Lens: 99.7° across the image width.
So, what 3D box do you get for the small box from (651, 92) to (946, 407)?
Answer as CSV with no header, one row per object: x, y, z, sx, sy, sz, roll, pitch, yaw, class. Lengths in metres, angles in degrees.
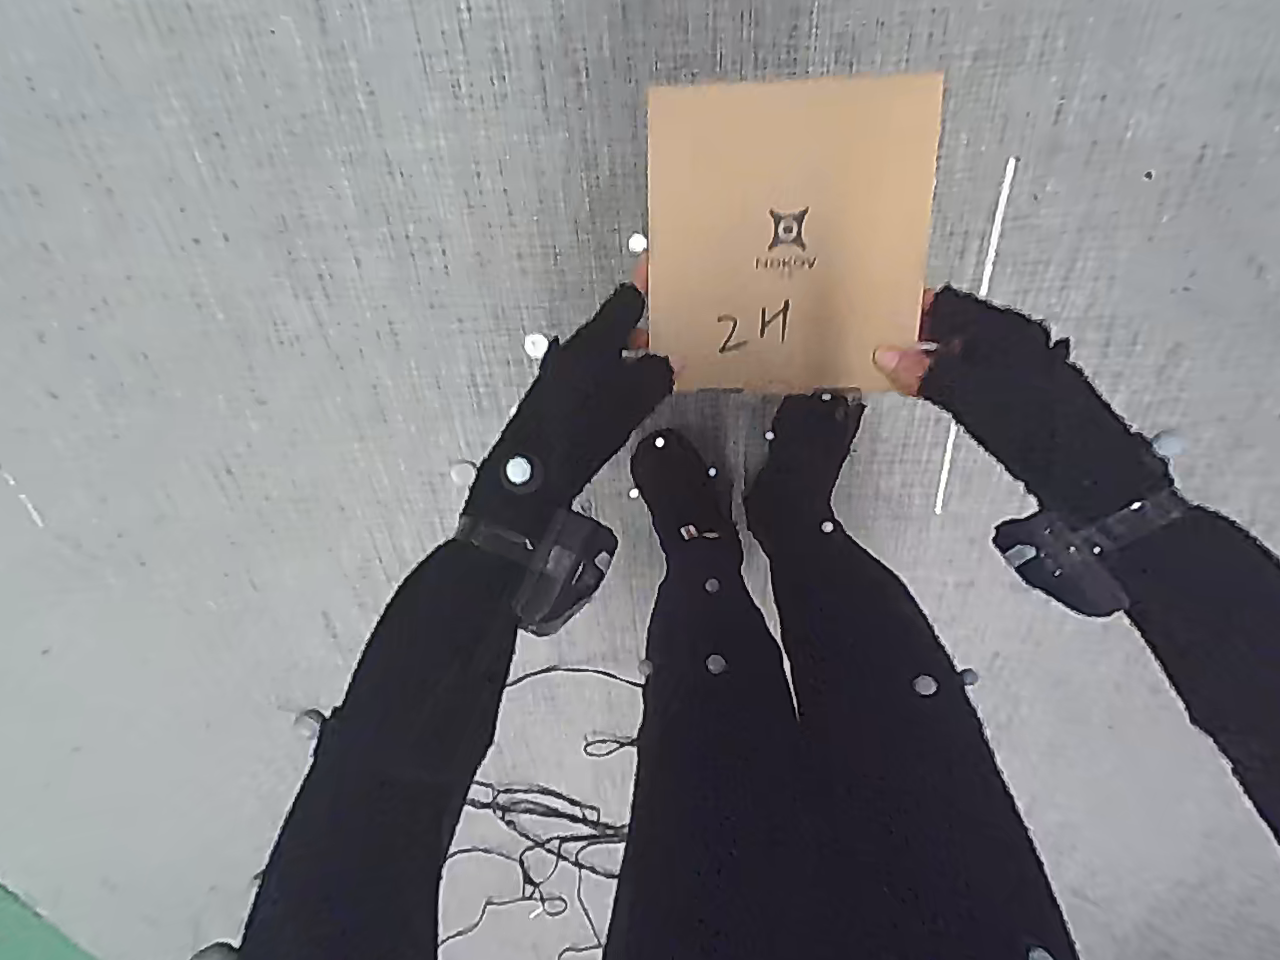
0.094,-0.148,0.399,0.168,0.176,0.179,1,103,4,small box
